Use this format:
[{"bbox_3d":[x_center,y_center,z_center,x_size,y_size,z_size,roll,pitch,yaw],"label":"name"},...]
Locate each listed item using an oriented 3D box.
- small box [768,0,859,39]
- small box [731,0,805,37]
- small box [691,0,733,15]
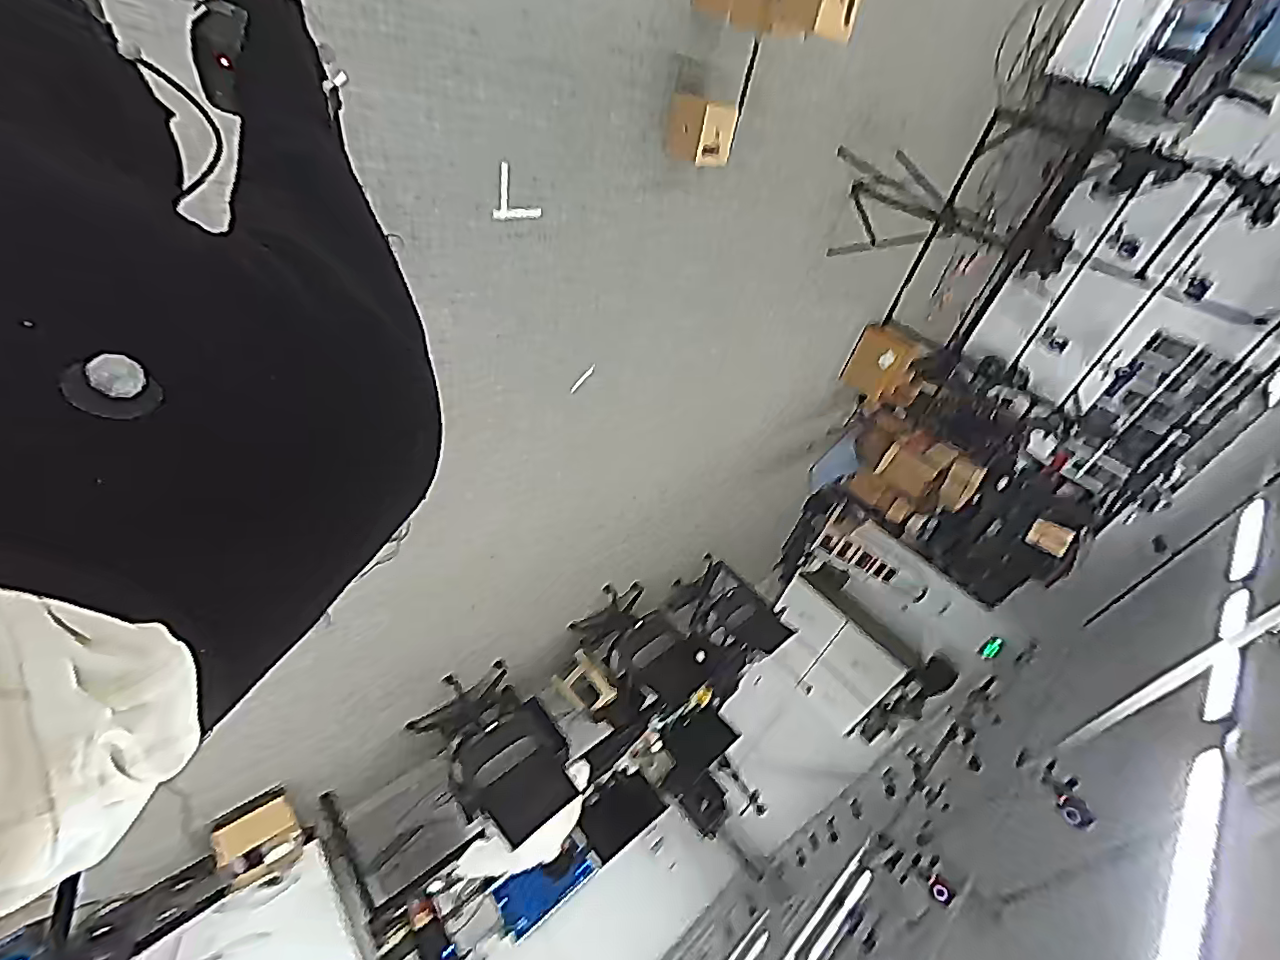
[{"bbox_3d":[0.479,-1.321,1.457,0.179,0.176,0.168,-22,140,-36],"label":"small box"},{"bbox_3d":[0.388,-1.412,1.562,0.168,0.176,0.179,-26,143,-34],"label":"small box"},{"bbox_3d":[0.282,-1.517,1.633,0.179,0.176,0.168,-25,143,-34],"label":"small box"}]
